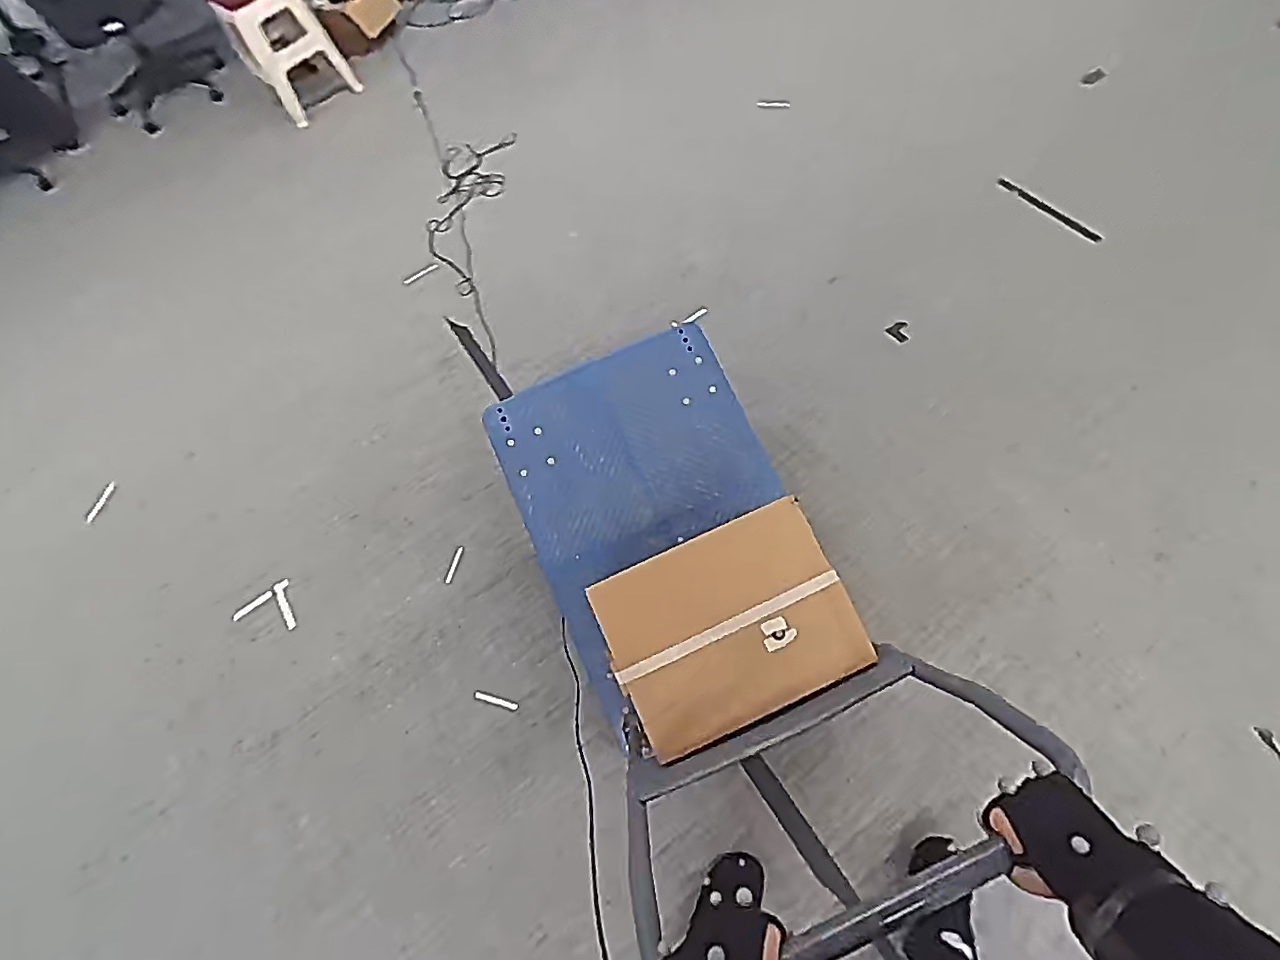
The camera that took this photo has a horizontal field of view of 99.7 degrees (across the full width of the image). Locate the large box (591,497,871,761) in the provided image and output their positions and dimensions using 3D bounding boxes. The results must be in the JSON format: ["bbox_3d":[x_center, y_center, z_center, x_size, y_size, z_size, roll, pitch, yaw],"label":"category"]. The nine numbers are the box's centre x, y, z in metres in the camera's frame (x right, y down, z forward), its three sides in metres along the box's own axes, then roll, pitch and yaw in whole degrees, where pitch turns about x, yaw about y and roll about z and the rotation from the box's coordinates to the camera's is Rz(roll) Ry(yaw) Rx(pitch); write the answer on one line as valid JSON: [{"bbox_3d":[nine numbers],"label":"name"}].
[{"bbox_3d":[0.154,0.277,1.078,0.408,0.320,0.320,-25,81,-5],"label":"large box"}]
